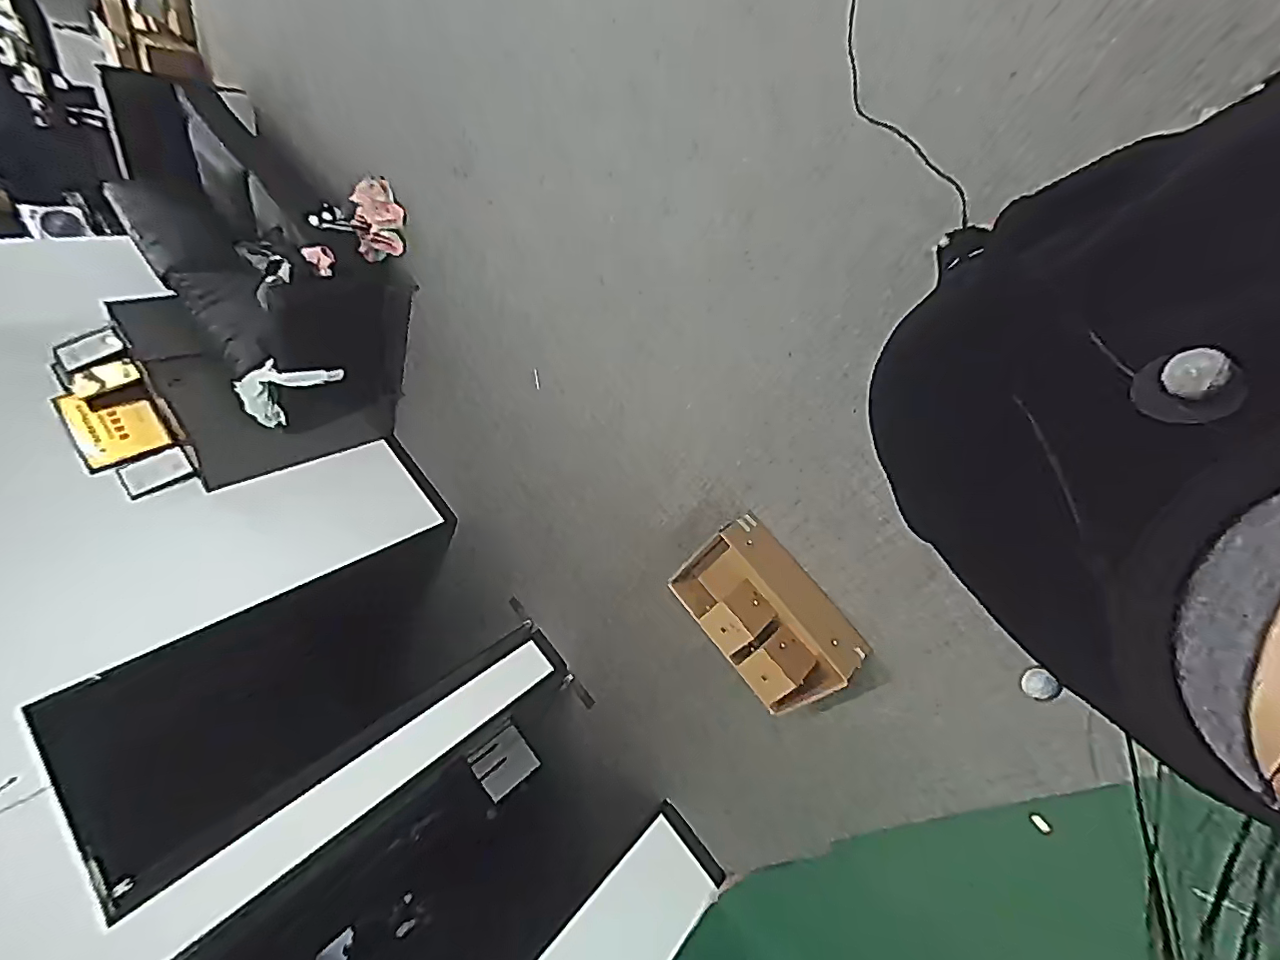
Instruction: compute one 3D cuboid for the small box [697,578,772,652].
[{"bbox_3d":[0.346,0.488,1.964,0.168,0.176,0.179,49,135,13],"label":"small box"}]
